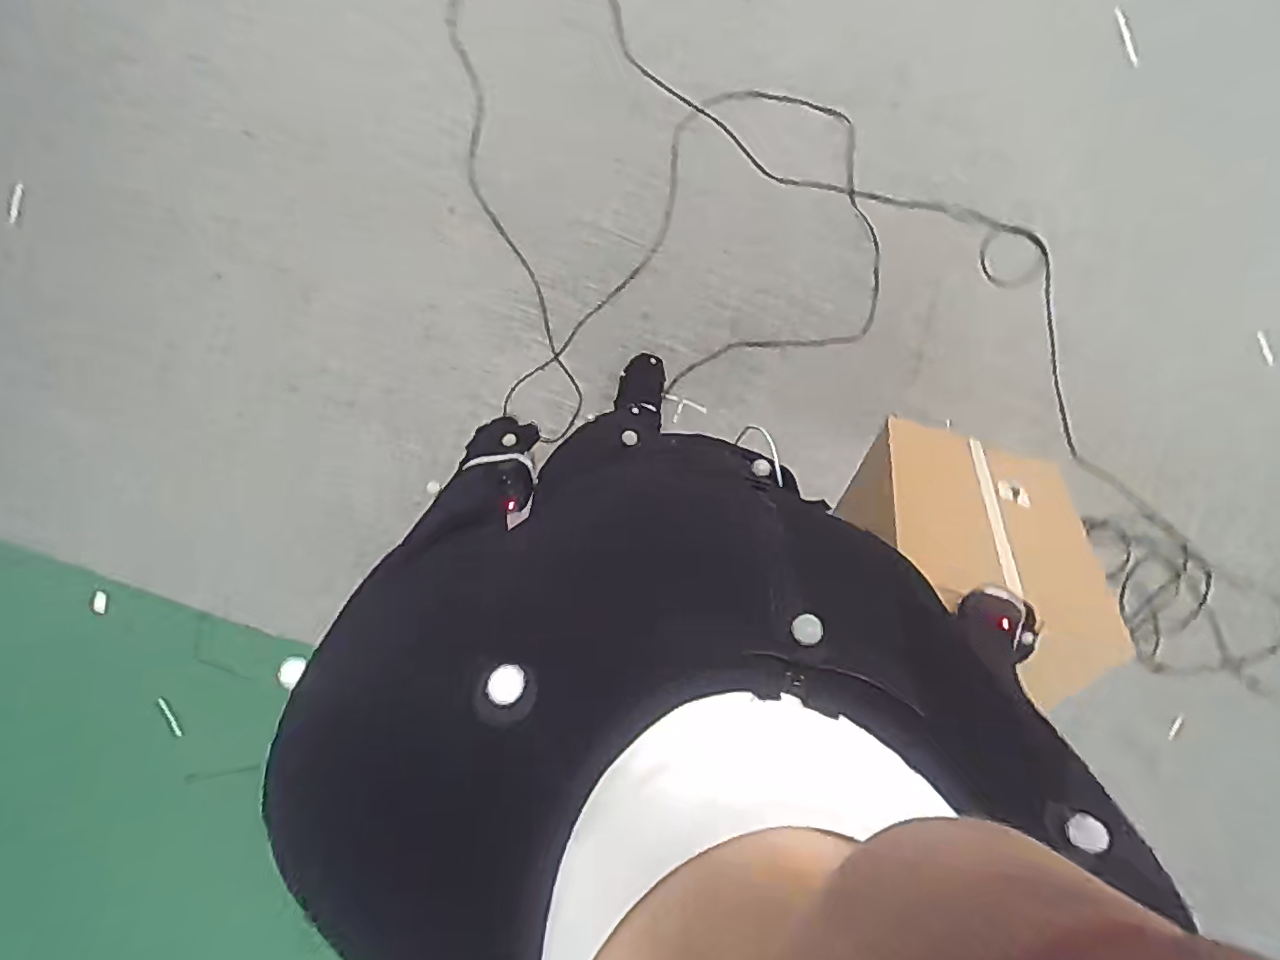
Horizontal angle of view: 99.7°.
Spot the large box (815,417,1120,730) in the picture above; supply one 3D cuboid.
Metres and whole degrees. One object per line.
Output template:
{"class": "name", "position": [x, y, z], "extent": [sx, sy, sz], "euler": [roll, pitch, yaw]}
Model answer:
{"class": "large box", "position": [0.525, 0.155, 0.974], "extent": [0.320, 0.408, 0.320], "euler": [20, 132, 5]}
